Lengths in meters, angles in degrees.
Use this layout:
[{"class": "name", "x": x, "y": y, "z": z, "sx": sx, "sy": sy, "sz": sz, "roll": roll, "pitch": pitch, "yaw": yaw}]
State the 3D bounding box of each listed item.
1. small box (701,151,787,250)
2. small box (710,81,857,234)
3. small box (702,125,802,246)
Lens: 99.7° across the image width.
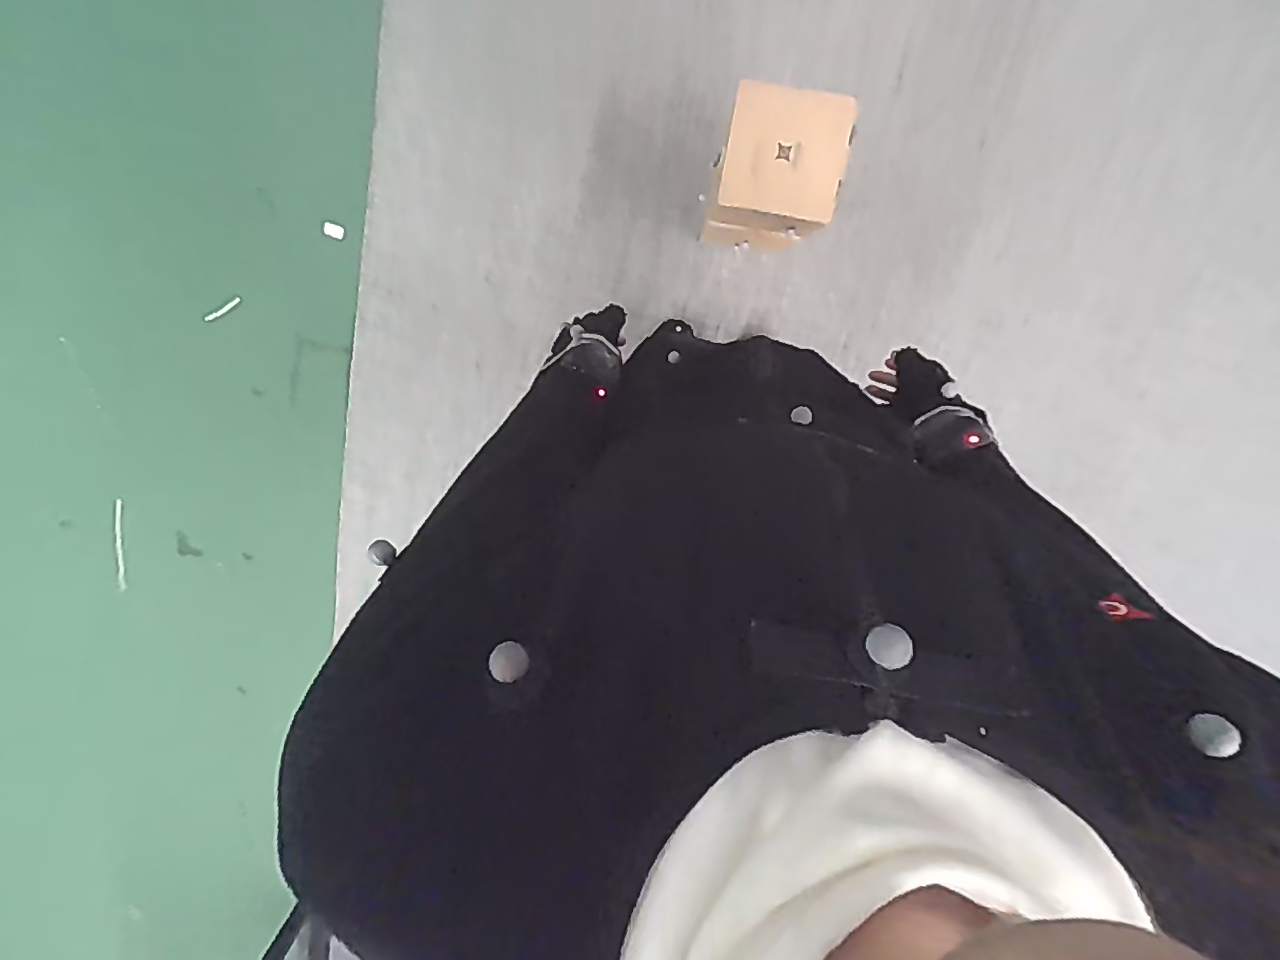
[{"class": "small box", "x": 0.232, "y": -0.600, "z": 1.176, "sx": 0.179, "sy": 0.176, "sz": 0.168, "roll": 5, "pitch": 108, "yaw": 1}, {"class": "small box", "x": 0.216, "y": -0.501, "z": 0.866, "sx": 0.179, "sy": 0.176, "sz": 0.168, "roll": 9, "pitch": 107, "yaw": 2}, {"class": "small box", "x": 0.221, "y": -0.546, "z": 1.022, "sx": 0.179, "sy": 0.176, "sz": 0.168, "roll": 10, "pitch": 108, "yaw": 0}]
